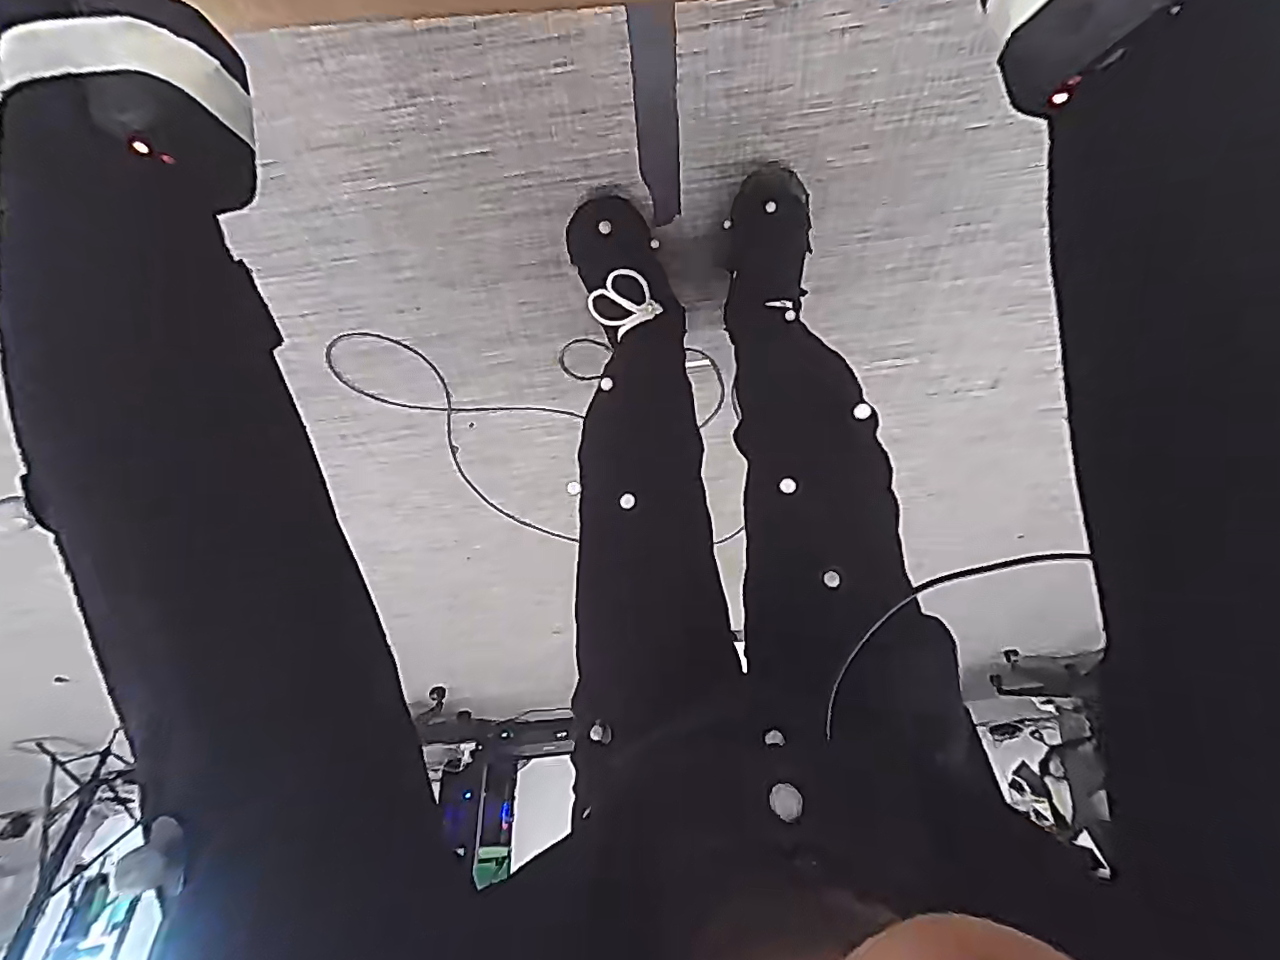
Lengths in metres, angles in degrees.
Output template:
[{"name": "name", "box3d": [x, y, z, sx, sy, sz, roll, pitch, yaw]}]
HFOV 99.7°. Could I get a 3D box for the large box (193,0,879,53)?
[{"name": "large box", "box3d": [-0.053, -0.465, 0.273, 0.408, 0.320, 0.320, -4, 141, -1]}]
